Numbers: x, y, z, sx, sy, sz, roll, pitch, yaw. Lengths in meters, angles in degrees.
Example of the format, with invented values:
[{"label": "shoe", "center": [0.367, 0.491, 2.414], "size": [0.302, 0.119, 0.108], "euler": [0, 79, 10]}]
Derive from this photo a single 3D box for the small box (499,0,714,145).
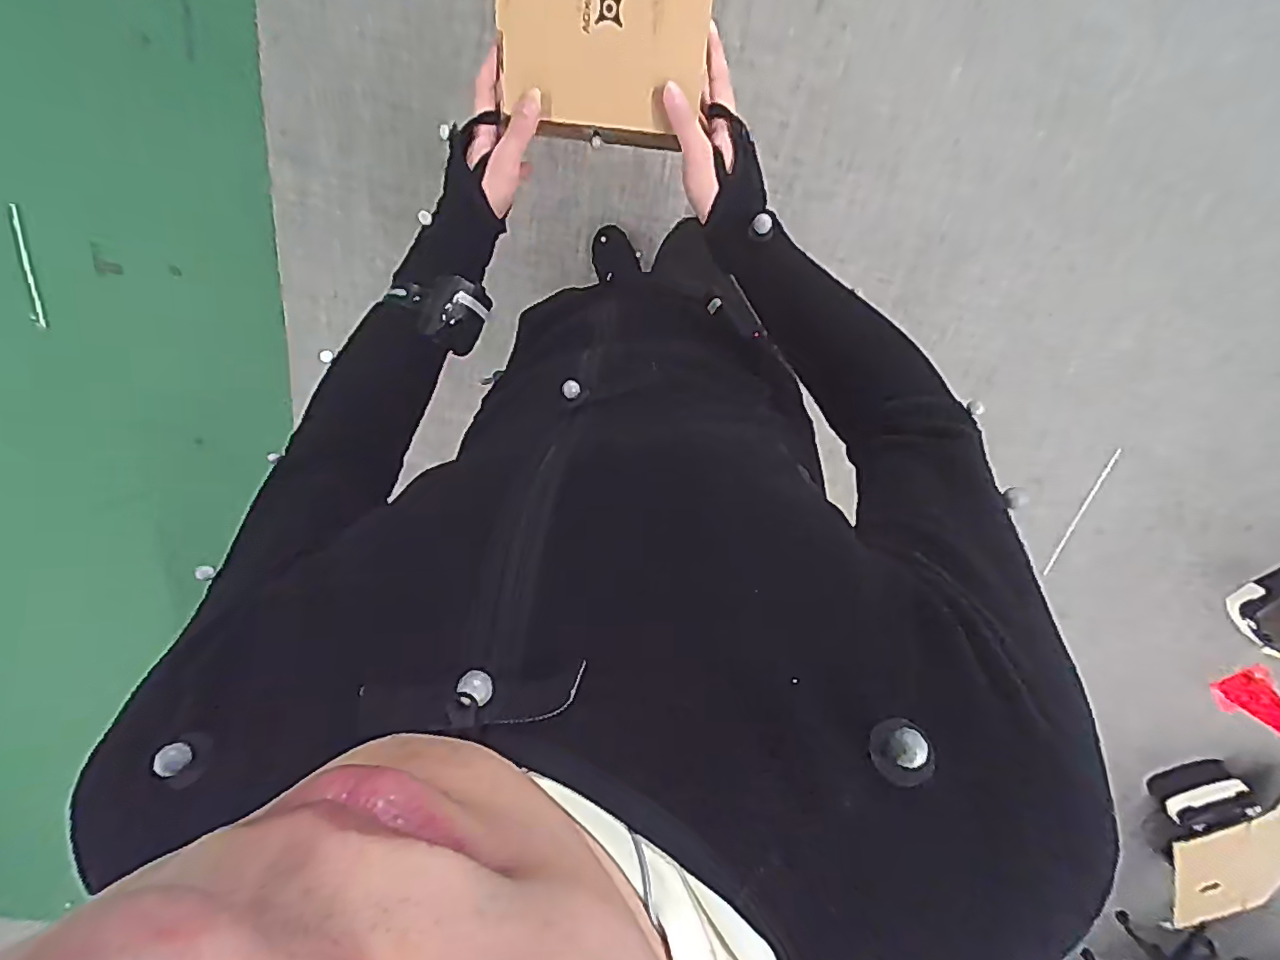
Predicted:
[{"label": "small box", "center": [-0.027, -0.424, 0.509], "size": [0.179, 0.176, 0.168], "euler": [5, 118, -3]}]
